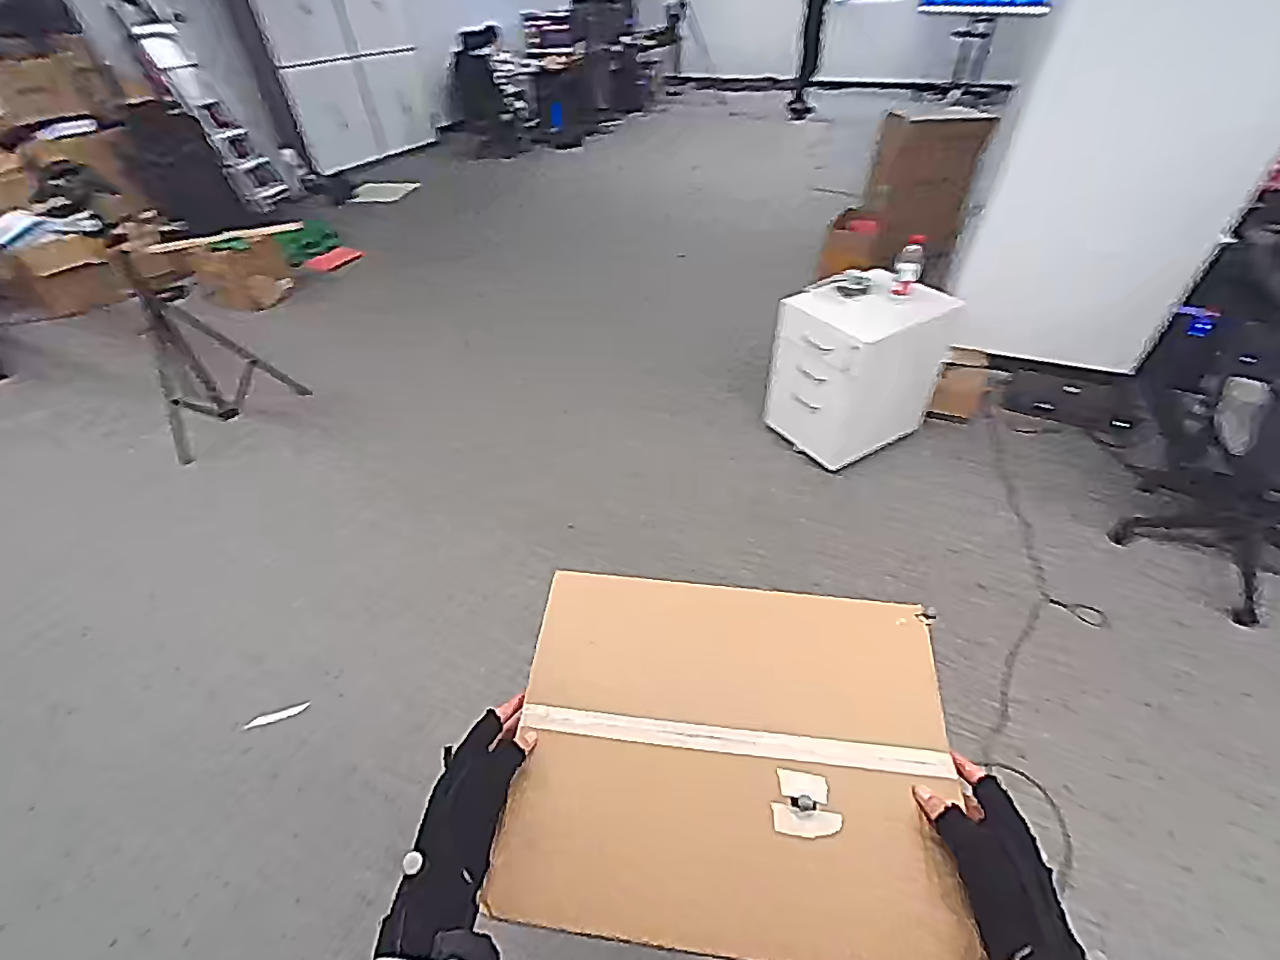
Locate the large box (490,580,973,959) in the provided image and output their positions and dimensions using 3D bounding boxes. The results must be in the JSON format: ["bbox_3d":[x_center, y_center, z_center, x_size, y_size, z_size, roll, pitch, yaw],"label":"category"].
[{"bbox_3d":[0.084,0.338,0.647,0.408,0.320,0.320,4,55,5],"label":"large box"}]
